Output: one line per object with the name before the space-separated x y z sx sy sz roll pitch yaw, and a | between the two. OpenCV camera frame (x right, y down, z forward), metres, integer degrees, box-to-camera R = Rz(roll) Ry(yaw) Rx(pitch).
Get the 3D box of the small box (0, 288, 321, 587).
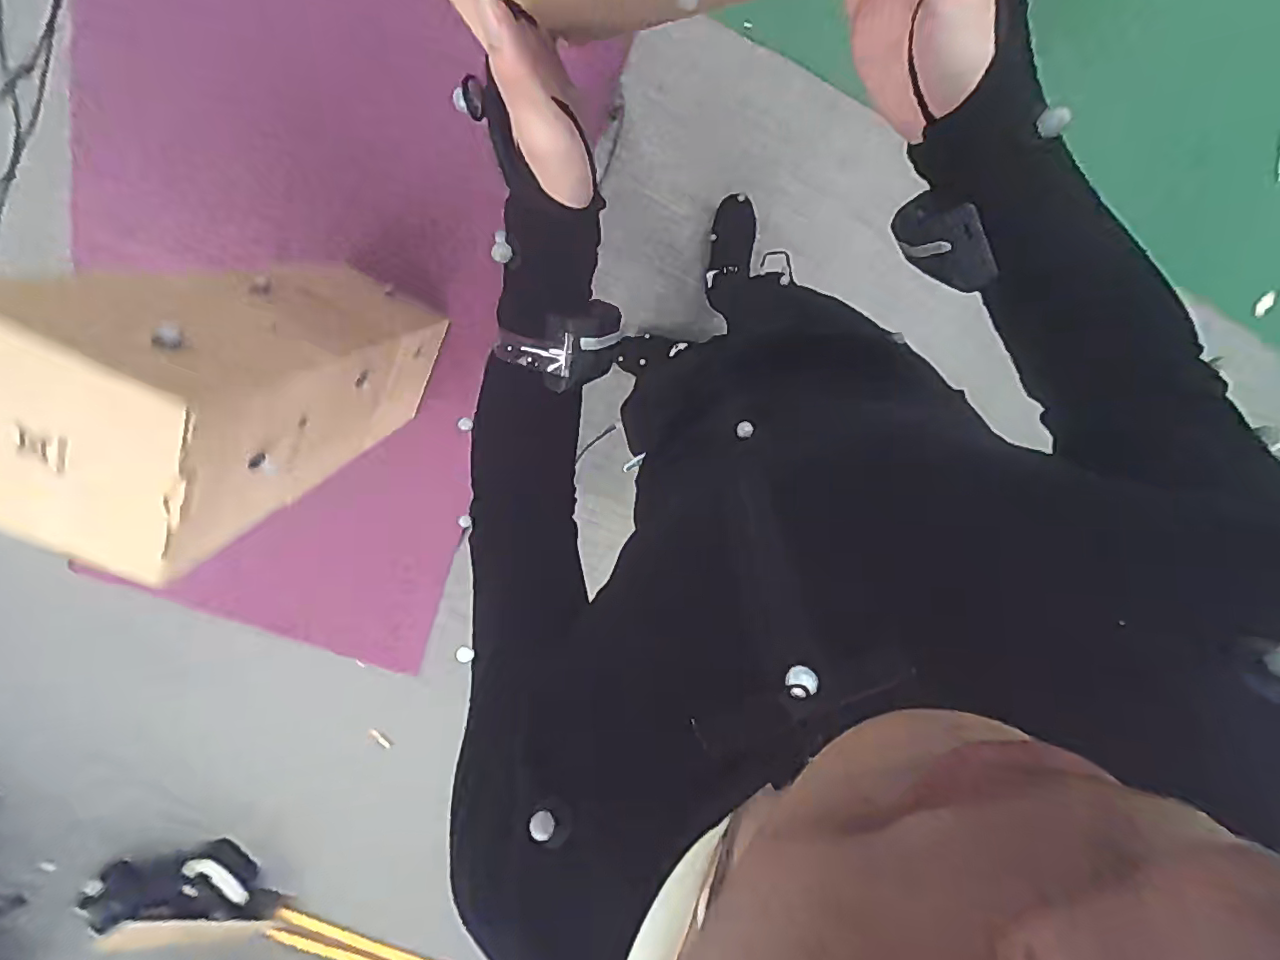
small box | -0.408 -0.048 0.452 0.179 0.176 0.168 26 110 -9
